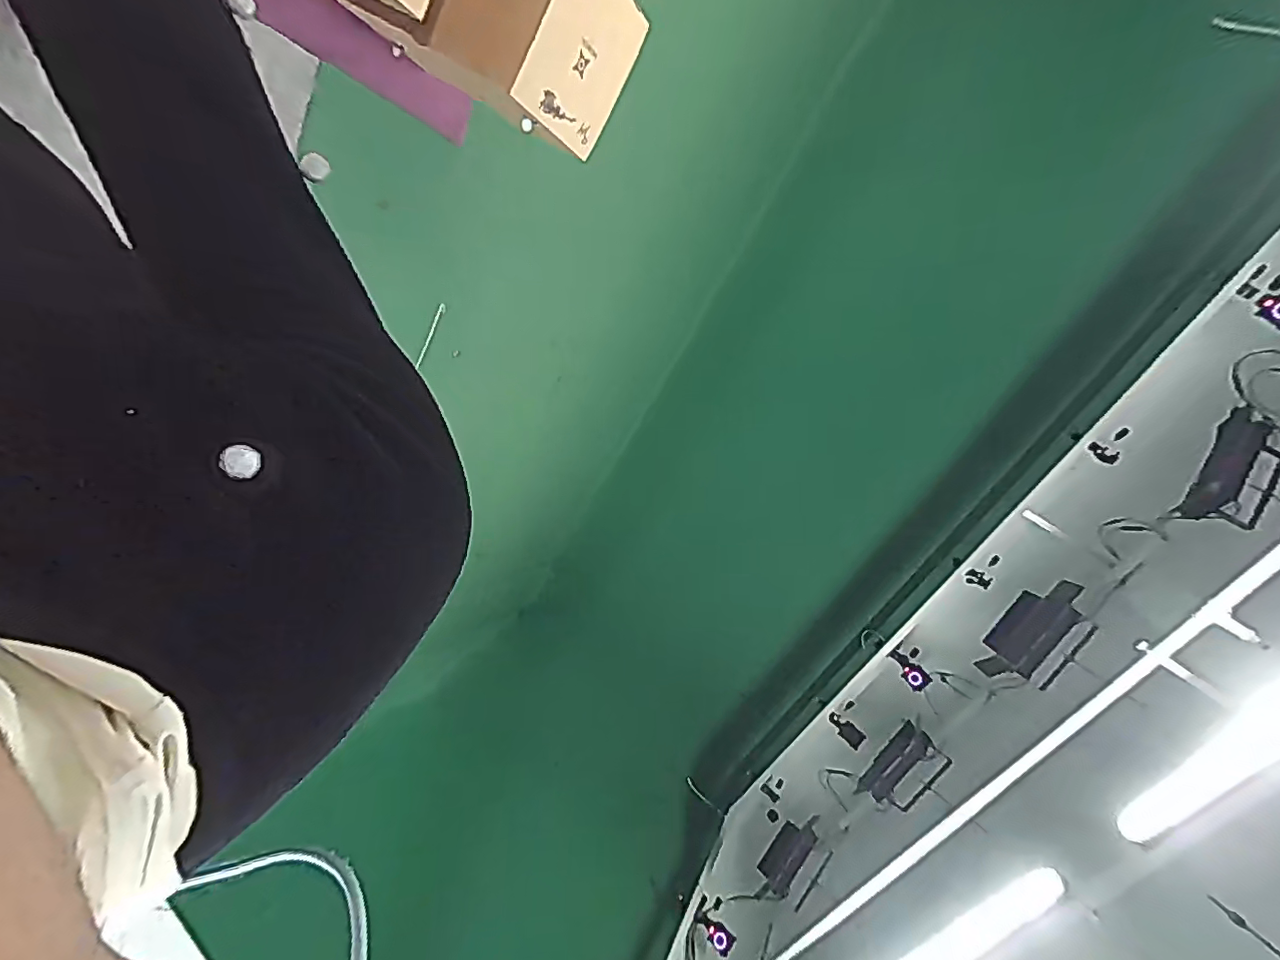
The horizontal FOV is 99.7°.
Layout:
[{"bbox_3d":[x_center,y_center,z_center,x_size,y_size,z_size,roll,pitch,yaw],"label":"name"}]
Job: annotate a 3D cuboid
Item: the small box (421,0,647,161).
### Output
[{"bbox_3d":[-0.127,-0.534,0.647,0.179,0.176,0.168,-59,162,17],"label":"small box"}]
